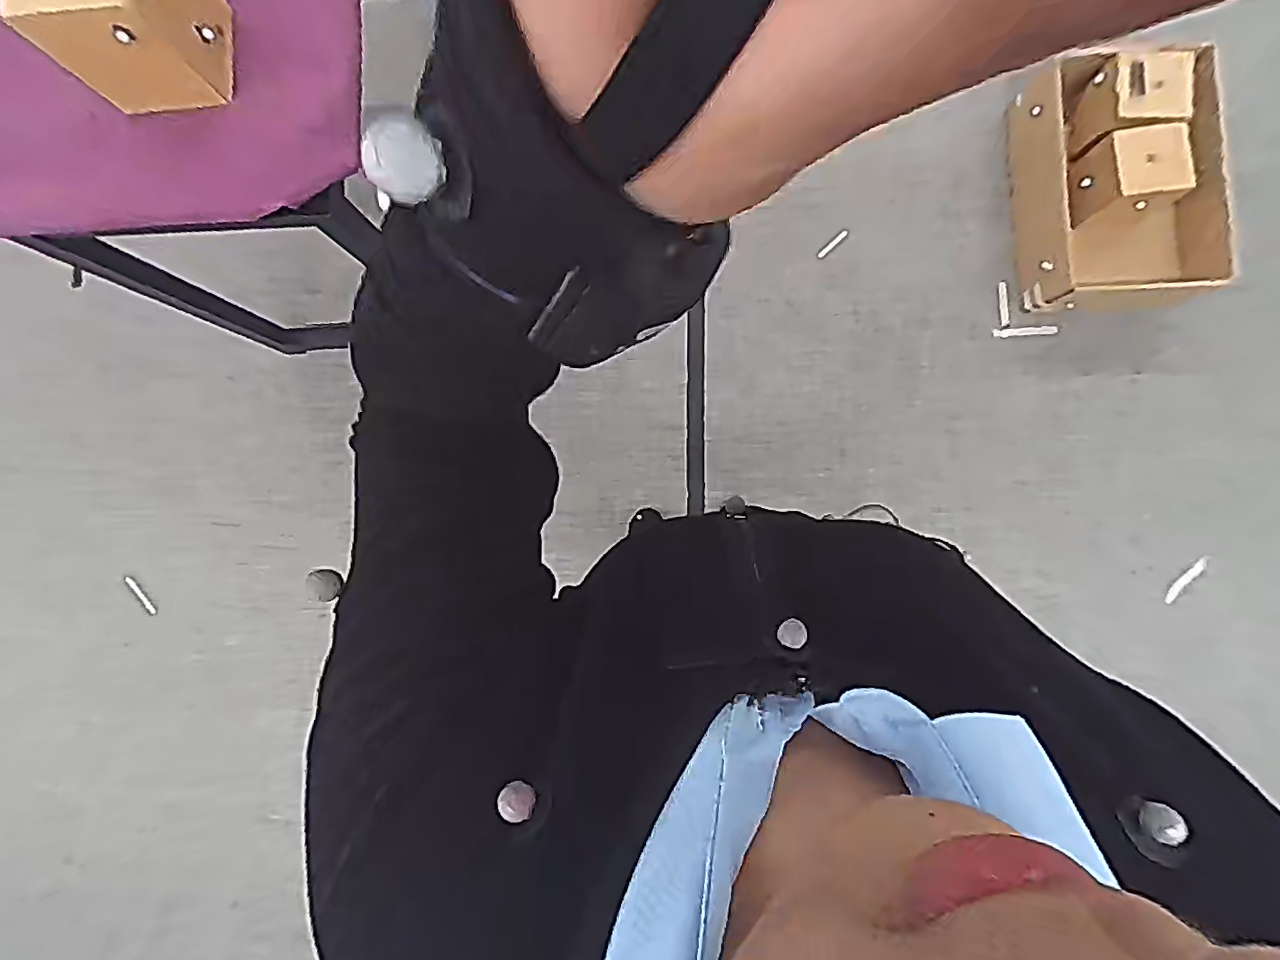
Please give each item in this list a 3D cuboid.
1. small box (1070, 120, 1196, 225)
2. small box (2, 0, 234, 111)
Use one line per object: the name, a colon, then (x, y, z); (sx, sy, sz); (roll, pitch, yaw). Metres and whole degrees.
small box: (1.245, -0.778, 1.384); (0.179, 0.176, 0.168); (-6, 88, 2)
small box: (-0.732, -0.668, 0.775); (0.179, 0.176, 0.168); (-4, 85, 2)
